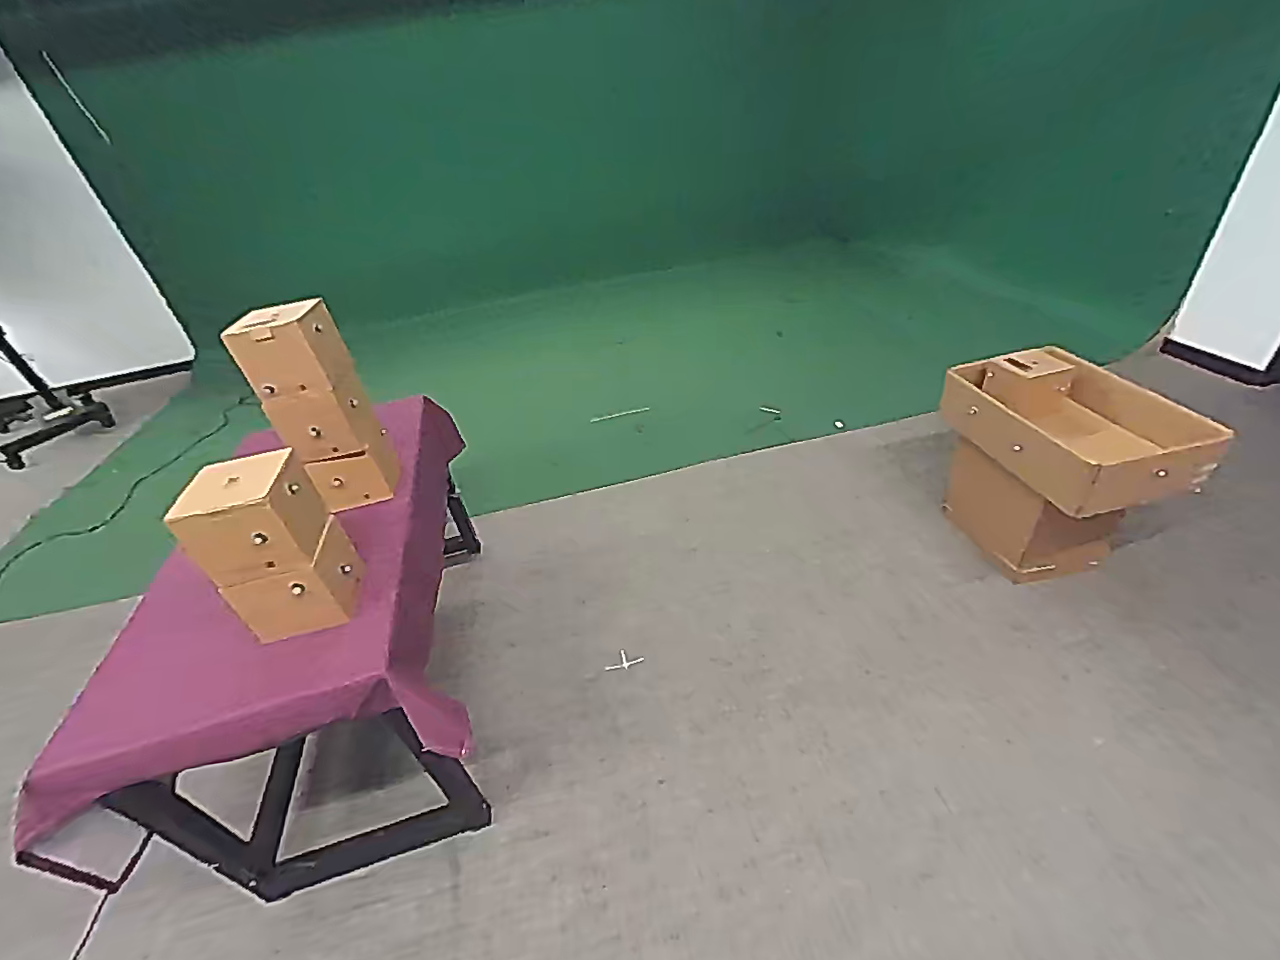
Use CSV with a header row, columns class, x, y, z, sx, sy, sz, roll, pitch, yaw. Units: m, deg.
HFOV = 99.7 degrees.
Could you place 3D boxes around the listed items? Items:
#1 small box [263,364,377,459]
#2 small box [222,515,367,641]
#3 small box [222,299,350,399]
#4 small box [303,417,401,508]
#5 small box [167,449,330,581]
class,x,y,z,sx,sy,sz,roll,pitch,yaw
small box,-0.789,-0.167,1.358,0.168,0.176,0.179,-12,37,-3
small box,-0.696,0.203,1.117,0.179,0.176,0.168,-14,36,-5
small box,-0.813,-0.303,1.267,0.168,0.176,0.179,-13,35,-3
small box,-0.767,-0.041,1.461,0.168,0.176,0.179,-15,36,-6
small box,-0.721,0.071,1.024,0.168,0.176,0.179,-14,36,-7
